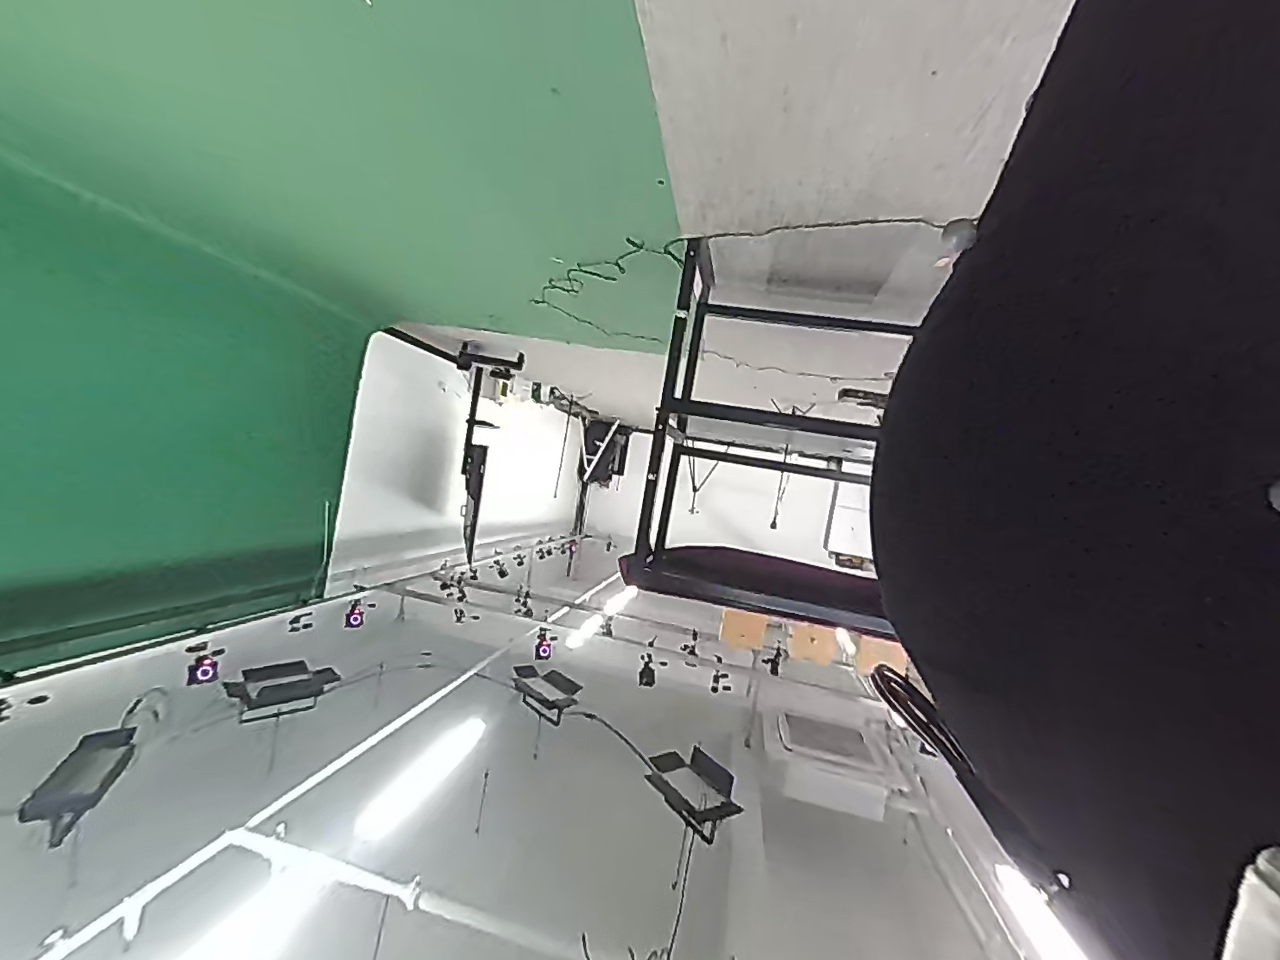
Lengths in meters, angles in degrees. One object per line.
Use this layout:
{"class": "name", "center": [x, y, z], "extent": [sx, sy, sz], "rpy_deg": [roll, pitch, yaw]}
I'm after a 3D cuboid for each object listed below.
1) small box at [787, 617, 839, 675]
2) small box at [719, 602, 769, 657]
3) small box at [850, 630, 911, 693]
{"class": "small box", "center": [0.706, 0.670, 2.207], "extent": [0.168, 0.176, 0.179], "rpy_deg": [11, -179, 11]}
{"class": "small box", "center": [0.433, 0.617, 2.260], "extent": [0.179, 0.176, 0.168], "rpy_deg": [9, -179, 10]}
{"class": "small box", "center": [0.958, 0.717, 2.156], "extent": [0.179, 0.176, 0.168], "rpy_deg": [11, 180, 12]}
